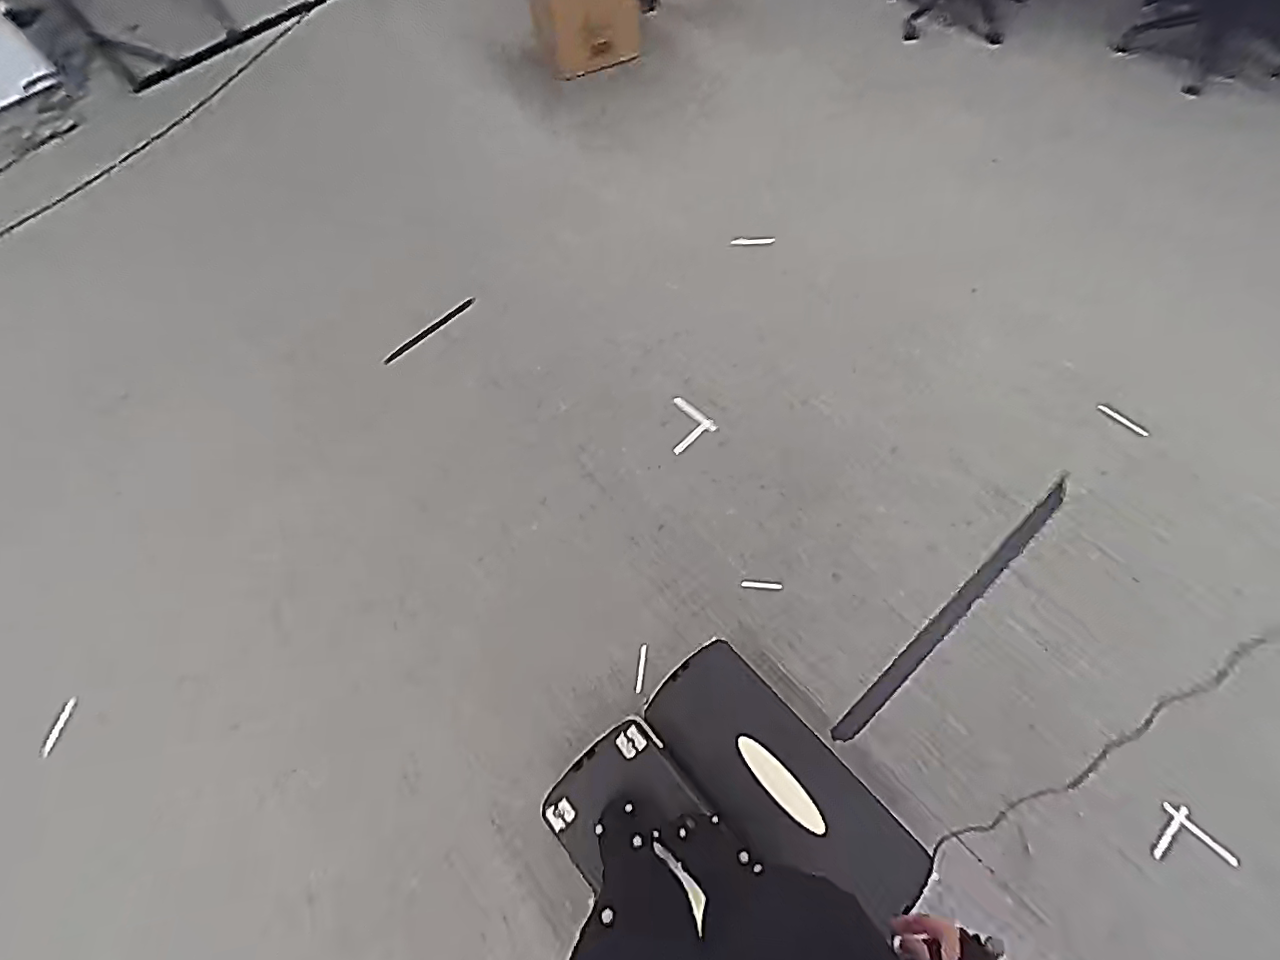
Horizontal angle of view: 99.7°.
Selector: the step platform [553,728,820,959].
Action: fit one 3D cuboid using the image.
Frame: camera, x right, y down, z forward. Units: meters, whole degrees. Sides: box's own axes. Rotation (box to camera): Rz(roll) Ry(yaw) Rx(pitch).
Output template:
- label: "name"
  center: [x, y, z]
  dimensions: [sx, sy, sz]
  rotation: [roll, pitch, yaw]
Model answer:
- label: "step platform"
  center: [0.109, 0.882, 1.124]
  dimensions: [0.286, 0.204, 0.684]
  rotation: [-36, 65, -13]
